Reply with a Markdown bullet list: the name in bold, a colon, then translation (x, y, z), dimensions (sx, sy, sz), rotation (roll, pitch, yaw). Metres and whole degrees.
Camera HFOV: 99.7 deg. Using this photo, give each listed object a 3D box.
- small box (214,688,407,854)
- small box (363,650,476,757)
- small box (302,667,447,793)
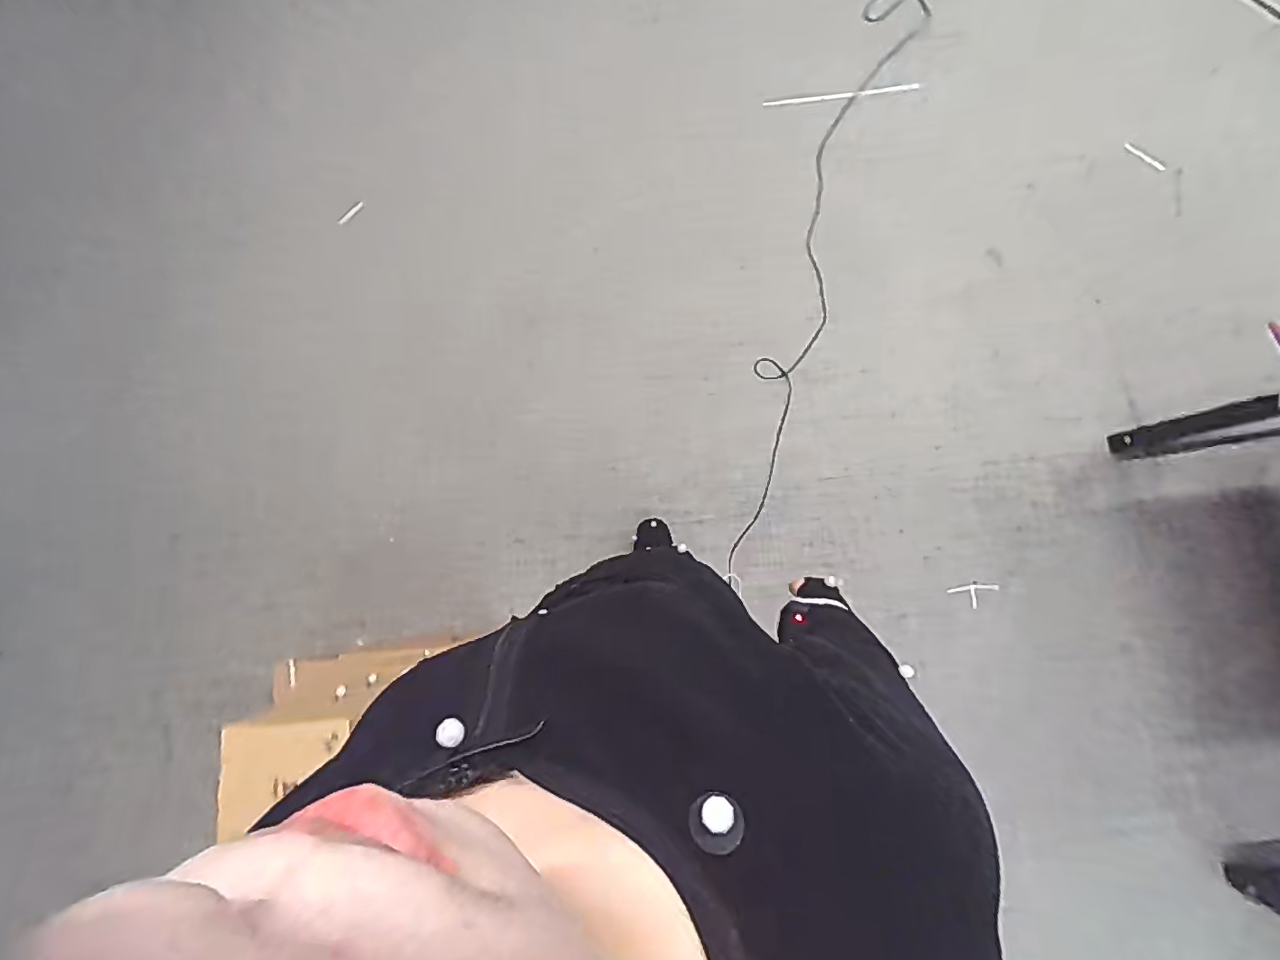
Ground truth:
- **small box**: translation (-0.462, 0.407, 0.782), dimensions (0.179, 0.176, 0.168), rotation (-4, 82, 2)
- **small box**: translation (-0.445, 0.450, 1.106), dimensions (0.168, 0.176, 0.179), rotation (-4, 82, 3)
- **small box**: translation (-0.457, 0.429, 0.944), dimensions (0.179, 0.176, 0.168), rotation (-4, 82, 1)
